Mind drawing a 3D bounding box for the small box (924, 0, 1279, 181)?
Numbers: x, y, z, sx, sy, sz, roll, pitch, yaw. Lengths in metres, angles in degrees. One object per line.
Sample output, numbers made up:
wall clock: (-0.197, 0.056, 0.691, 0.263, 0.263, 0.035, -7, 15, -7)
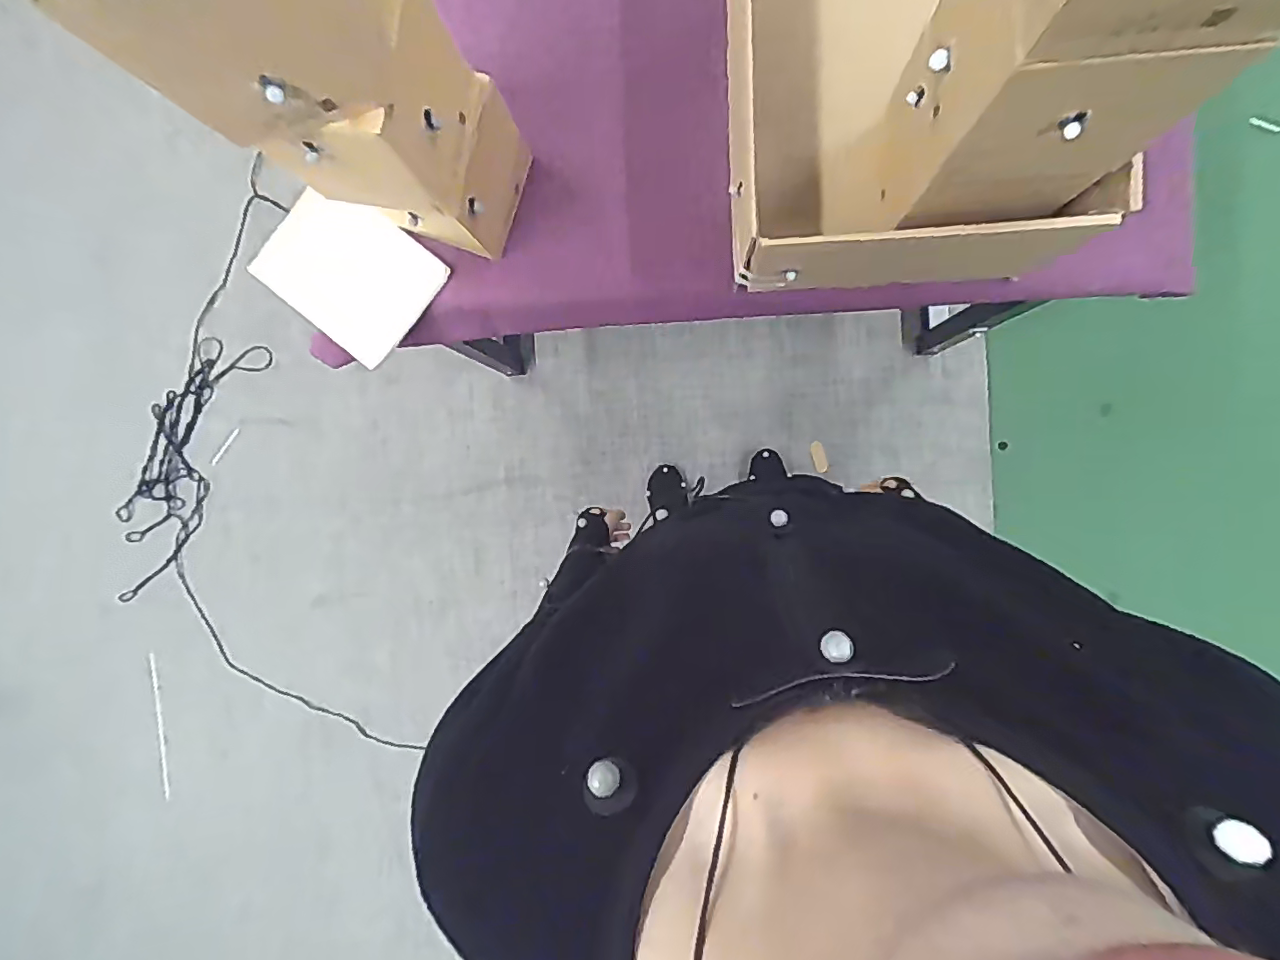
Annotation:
small box: (0.365, -0.379, 0.454, 0.179, 0.176, 0.168, 0, 91, 9)

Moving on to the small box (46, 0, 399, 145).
small box: (-0.315, -0.404, 0.411, 0.168, 0.176, 0.179, -11, 90, 7)

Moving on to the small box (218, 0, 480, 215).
small box: (-0.291, -0.405, 0.574, 0.179, 0.176, 0.168, 11, 92, 6)

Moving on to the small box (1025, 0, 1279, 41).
small box: (0.341, -0.382, 0.293, 0.168, 0.176, 0.179, 0, 91, 7)
